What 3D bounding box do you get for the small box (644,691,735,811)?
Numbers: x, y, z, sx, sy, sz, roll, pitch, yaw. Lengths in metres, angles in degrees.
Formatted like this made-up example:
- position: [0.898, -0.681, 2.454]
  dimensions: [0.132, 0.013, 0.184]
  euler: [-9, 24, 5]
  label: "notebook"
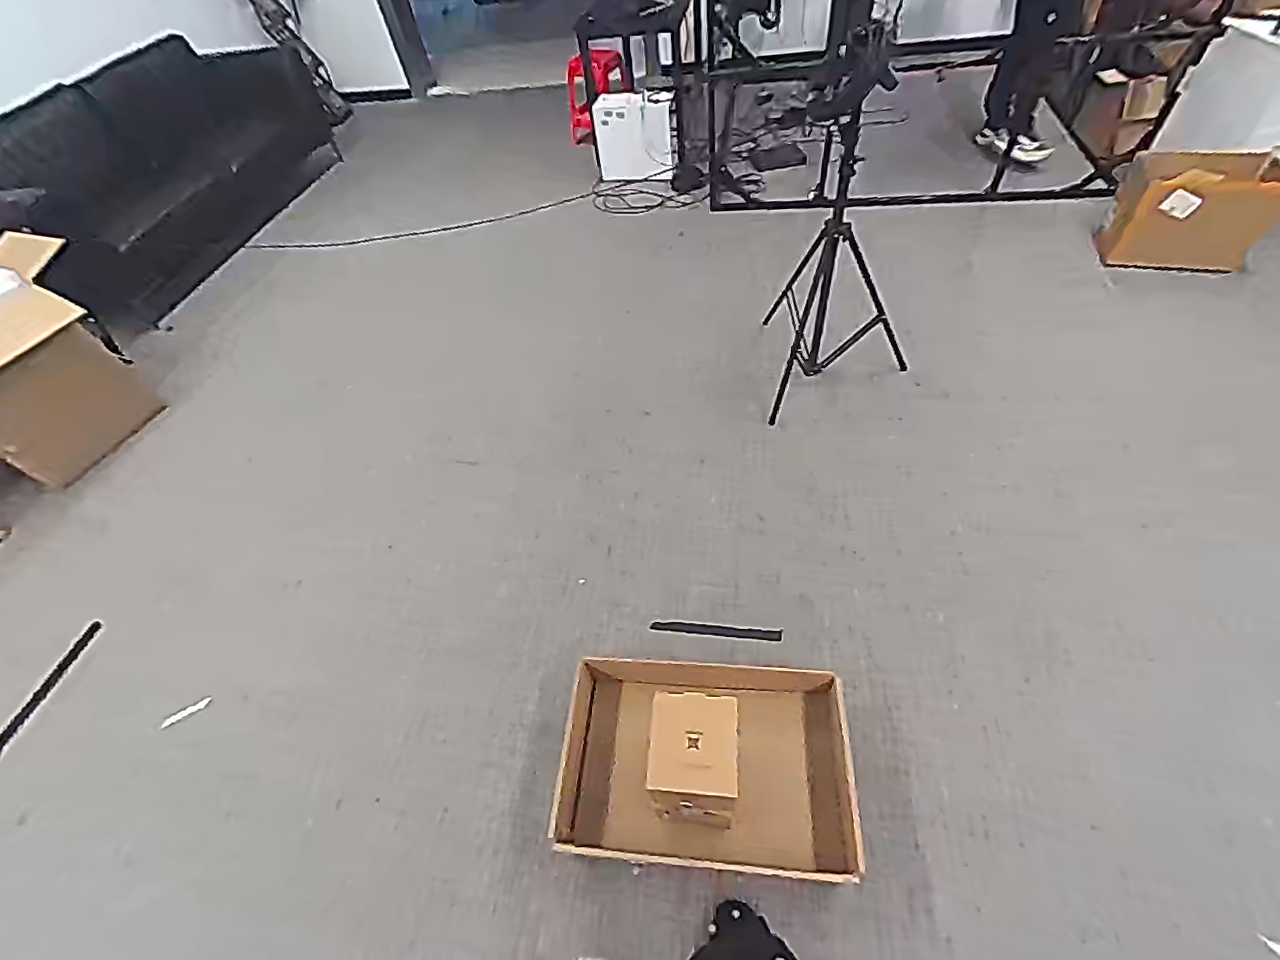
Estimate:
- position: [0.103, 0.542, 1.078]
  dimensions: [0.168, 0.176, 0.179]
  euler: [0, 52, 8]
  label: "small box"
